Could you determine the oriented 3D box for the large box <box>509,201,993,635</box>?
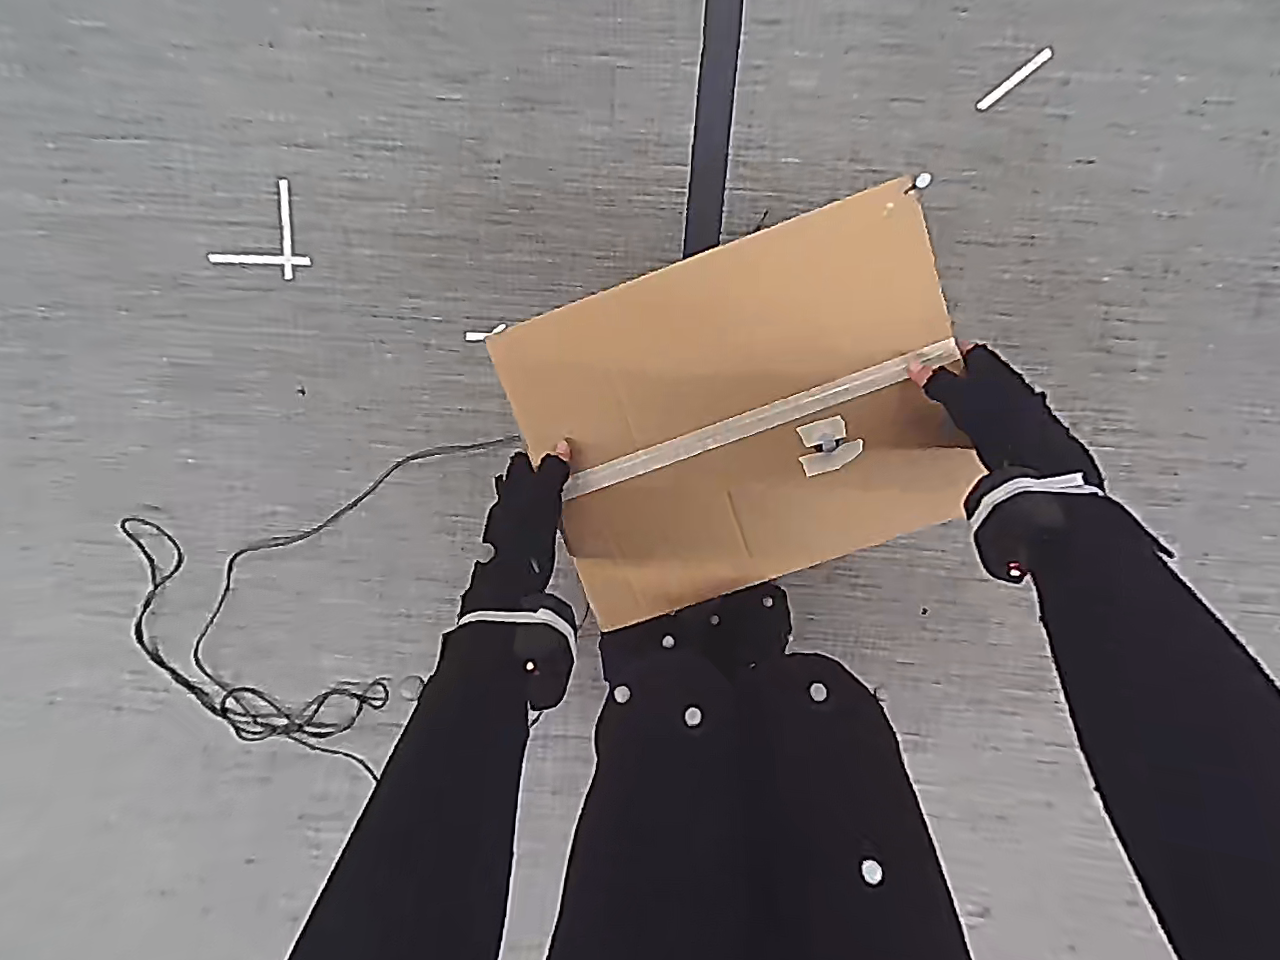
[{"bbox_3d":[0.112,-0.067,0.666,0.408,0.320,0.320,-19,100,5],"label":"large box"}]
